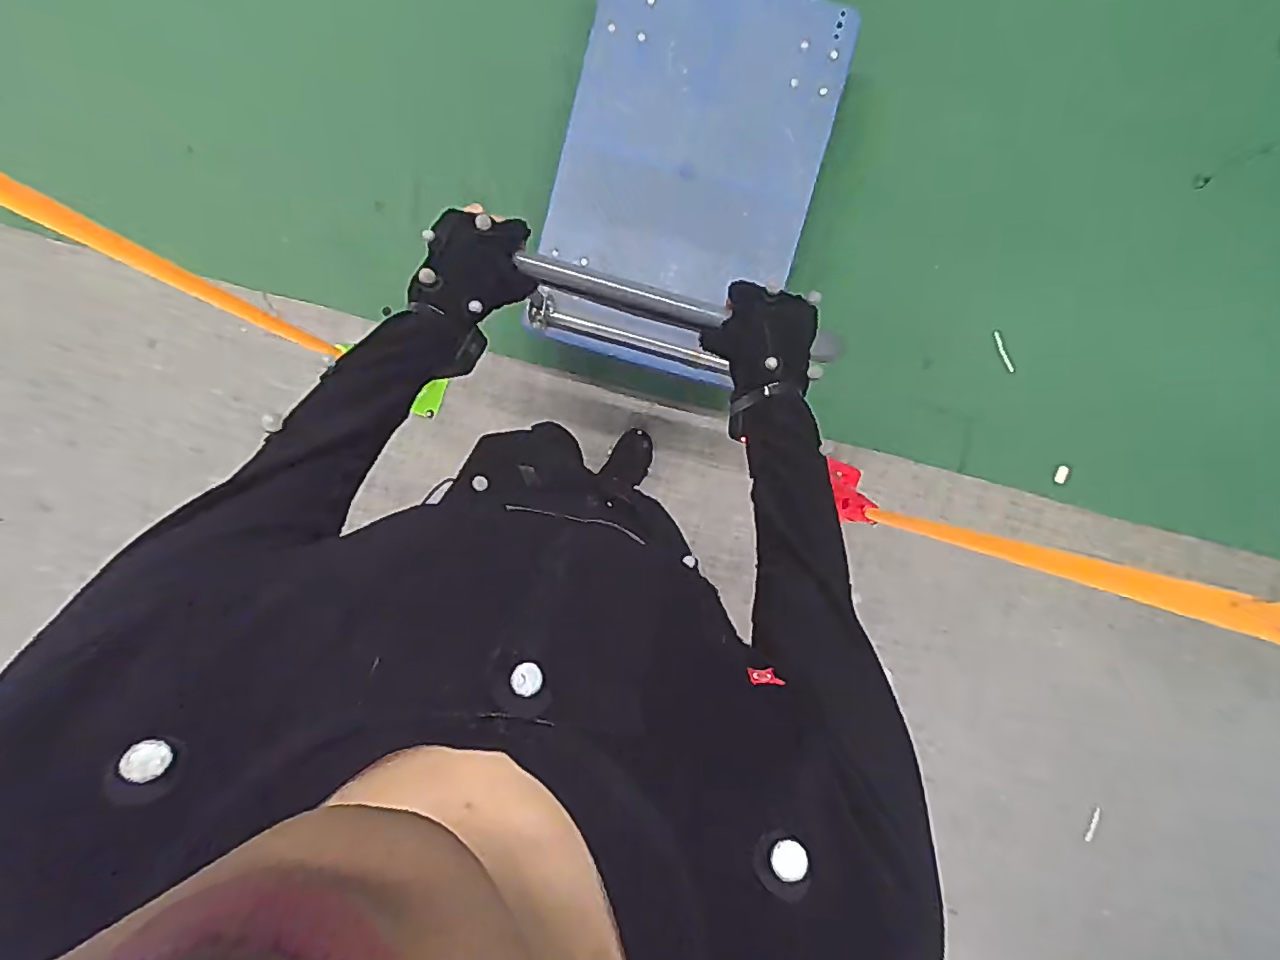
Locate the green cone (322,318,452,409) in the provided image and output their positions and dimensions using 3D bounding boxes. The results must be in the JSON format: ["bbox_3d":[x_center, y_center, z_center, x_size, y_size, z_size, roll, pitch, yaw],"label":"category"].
[{"bbox_3d":[-0.615,-0.291,1.261,0.202,0.368,0.200,19,95,-2],"label":"green cone"}]
